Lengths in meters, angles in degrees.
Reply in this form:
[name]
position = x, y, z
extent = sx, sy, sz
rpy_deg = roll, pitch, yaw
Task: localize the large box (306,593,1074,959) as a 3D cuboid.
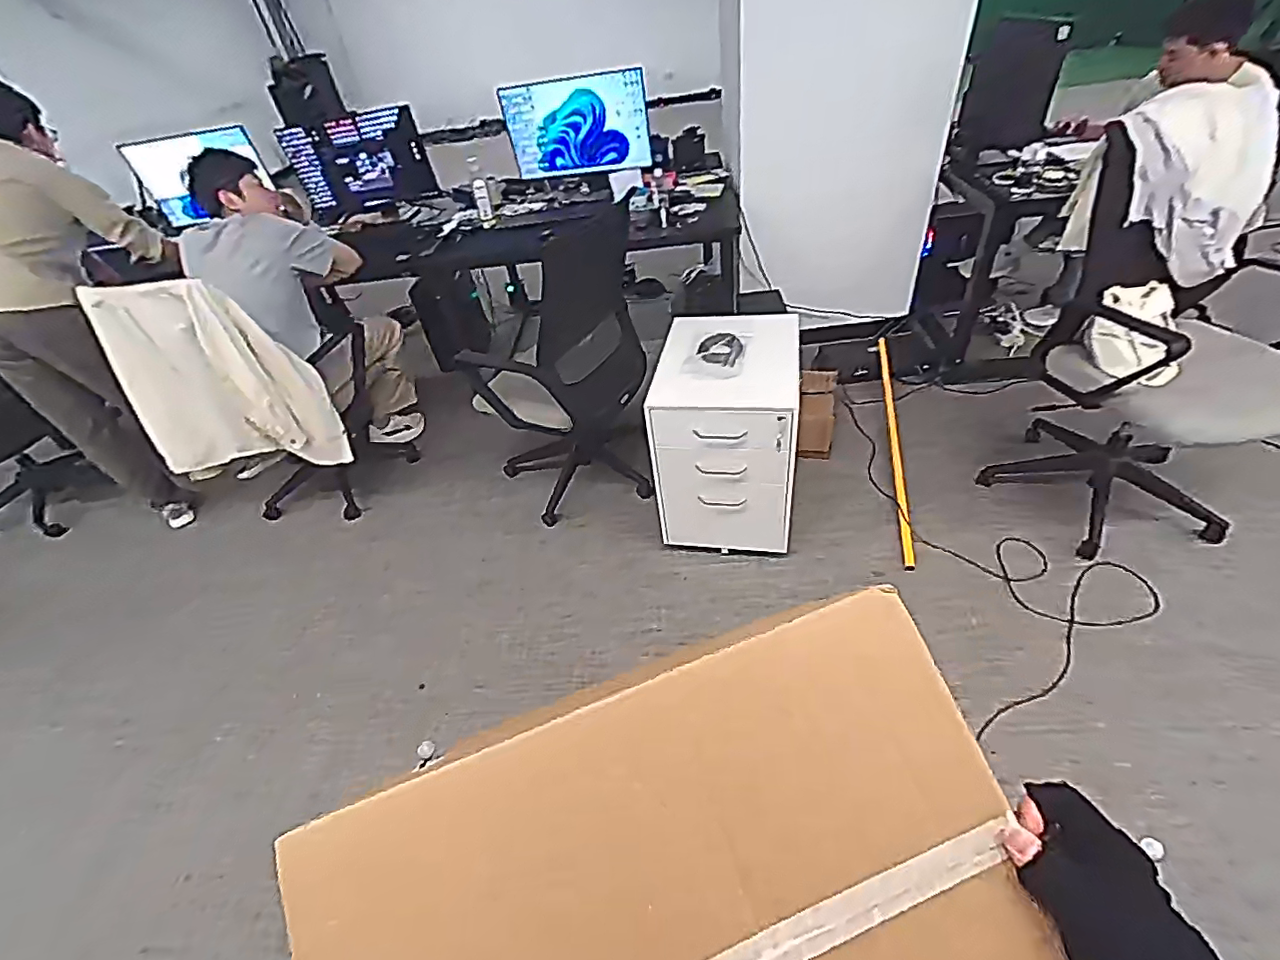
[large box]
position = 0.036, 0.329, 0.445
extent = 0.408, 0.320, 0.320
rpy_deg = -21, 74, -8
